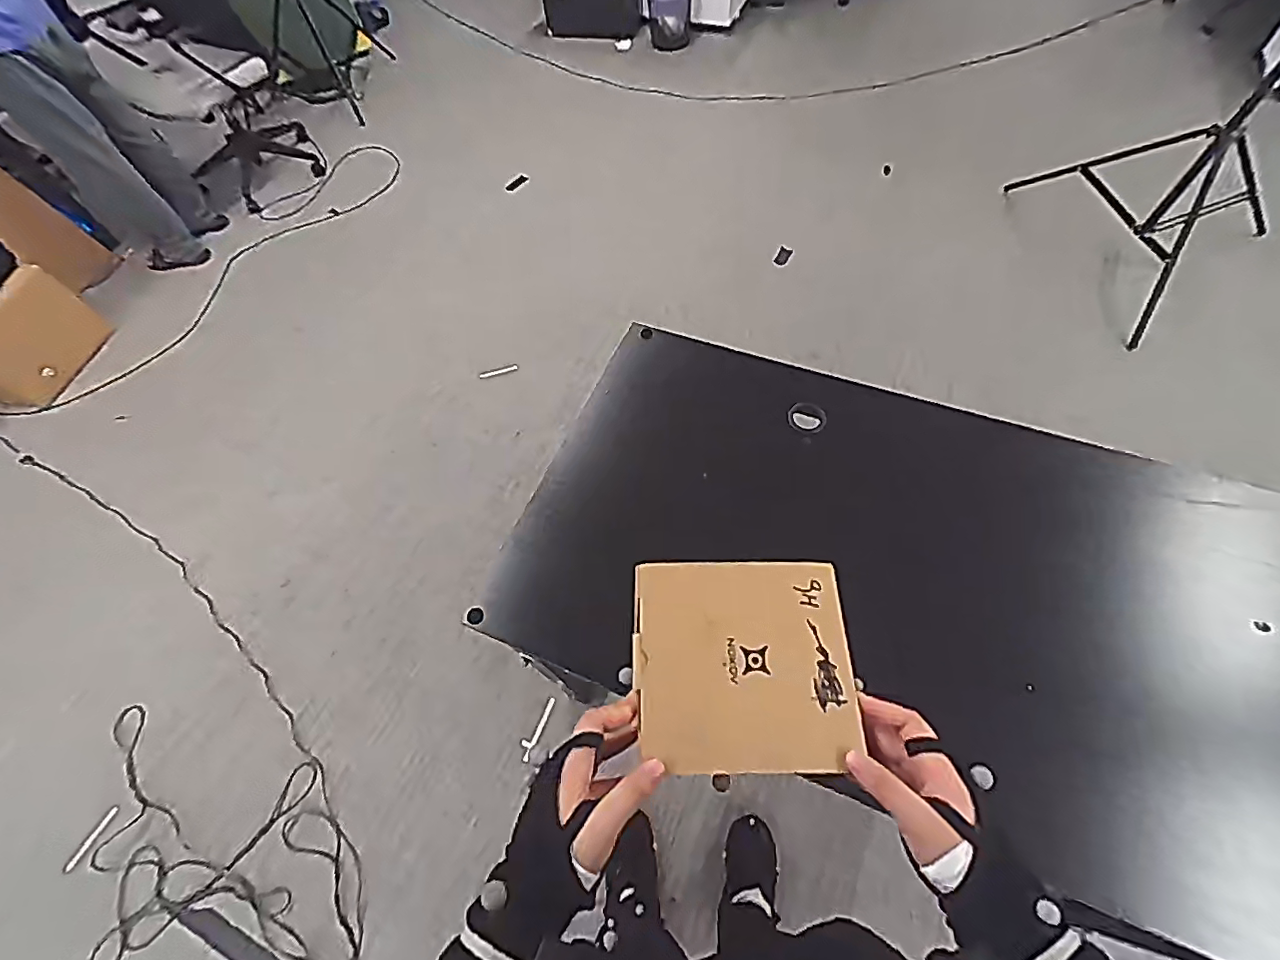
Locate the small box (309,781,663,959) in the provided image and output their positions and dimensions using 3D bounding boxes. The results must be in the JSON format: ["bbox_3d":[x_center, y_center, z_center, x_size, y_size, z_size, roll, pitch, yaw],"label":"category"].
[{"bbox_3d":[-0.107,0.343,0.355,0.179,0.168,0.176,-6,45,-43],"label":"small box"}]
